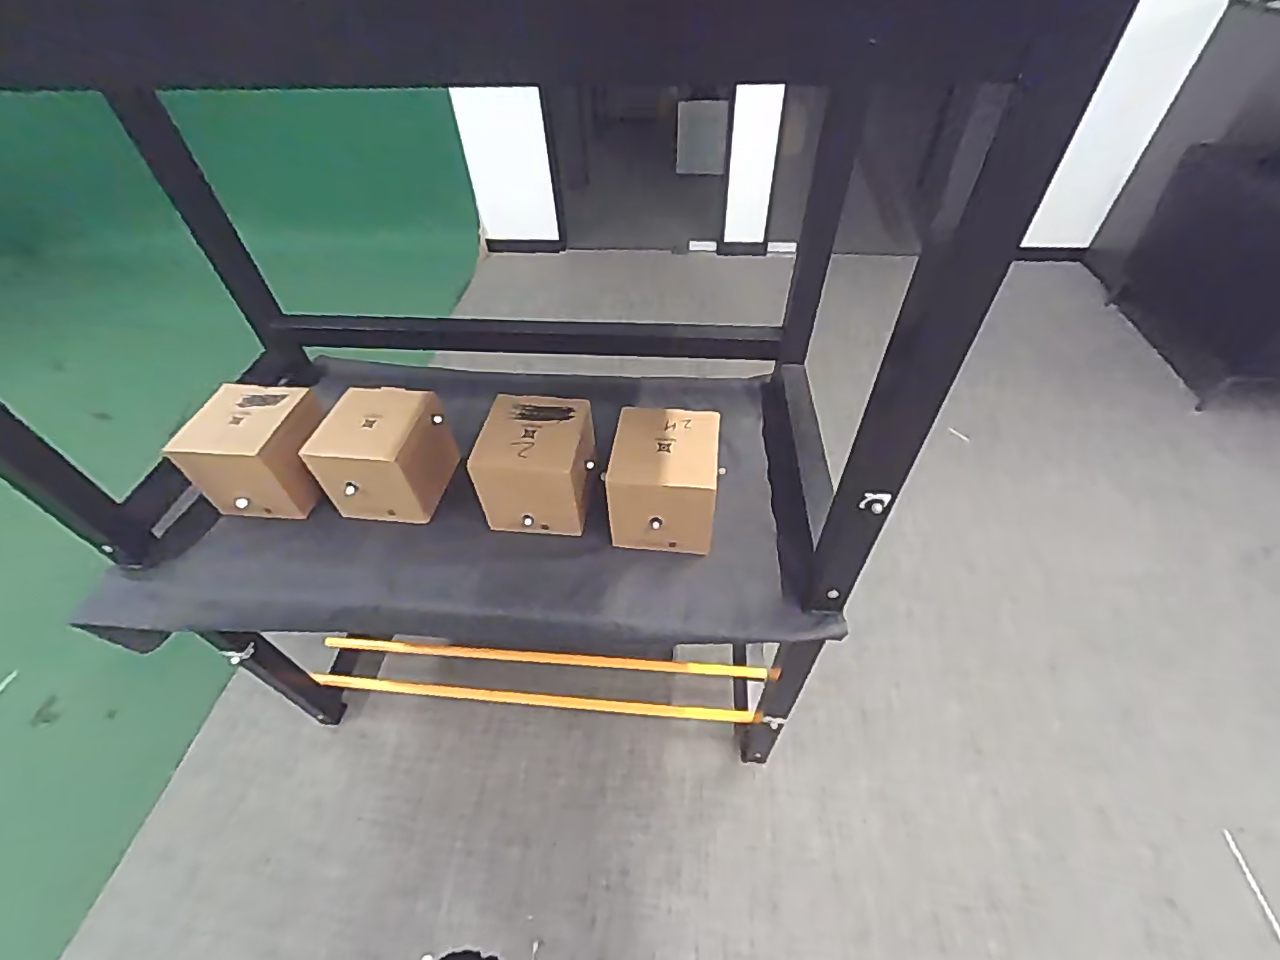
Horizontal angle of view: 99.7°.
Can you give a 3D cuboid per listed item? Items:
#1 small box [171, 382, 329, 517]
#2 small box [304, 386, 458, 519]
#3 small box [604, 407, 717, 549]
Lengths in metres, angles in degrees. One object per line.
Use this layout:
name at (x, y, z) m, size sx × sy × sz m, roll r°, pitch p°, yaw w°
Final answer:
small box at (-0.678, -0.056, 0.989) m, size 0.168 × 0.176 × 0.179 m, roll 3°, pitch 48°, yaw 4°
small box at (-0.451, -0.047, 0.978) m, size 0.168 × 0.176 × 0.179 m, roll 4°, pitch 47°, yaw 5°
small box at (0.040, -0.002, 0.917) m, size 0.168 × 0.176 × 0.179 m, roll 5°, pitch 47°, yaw 6°
